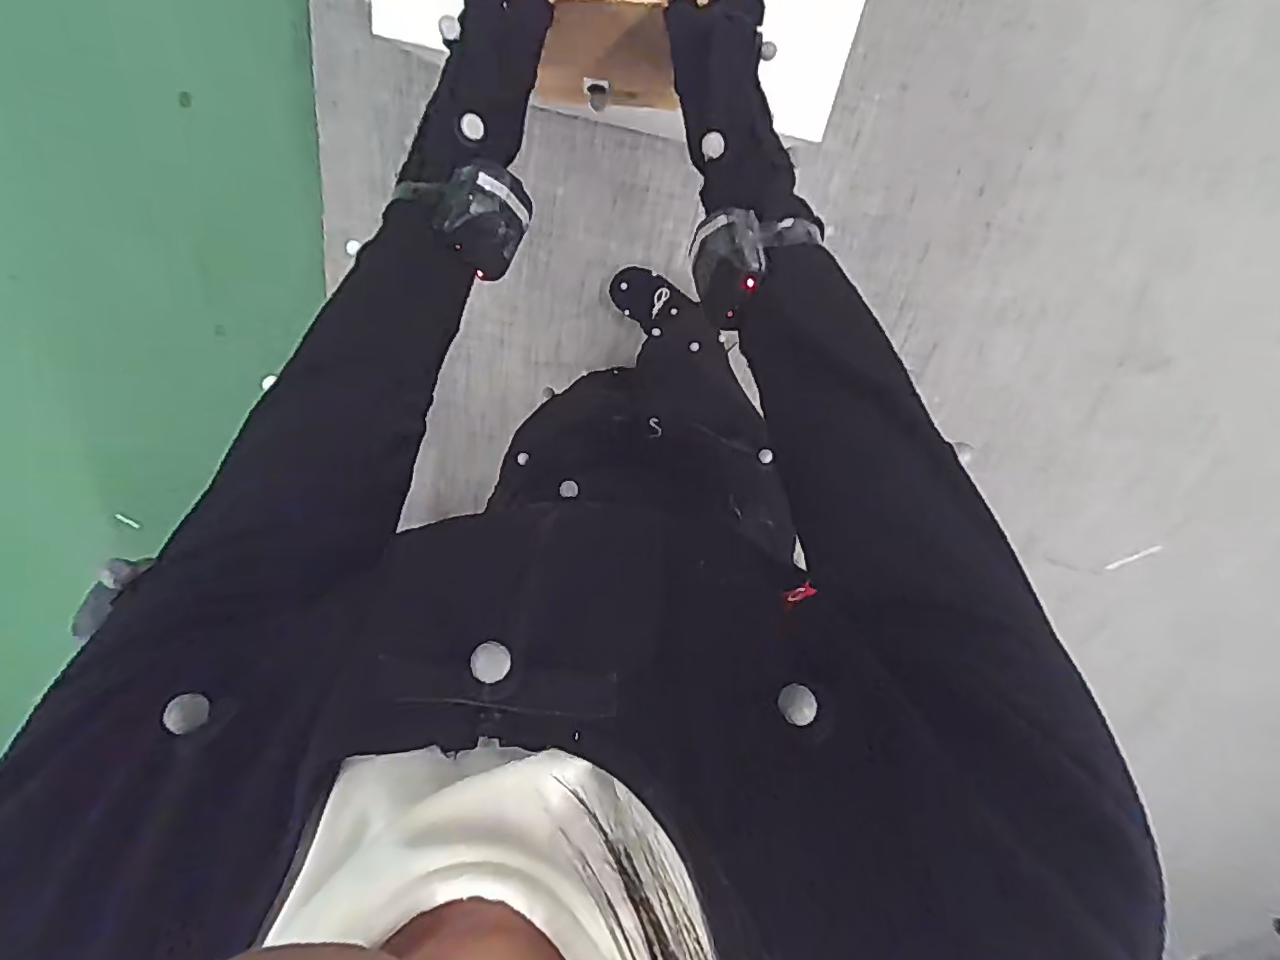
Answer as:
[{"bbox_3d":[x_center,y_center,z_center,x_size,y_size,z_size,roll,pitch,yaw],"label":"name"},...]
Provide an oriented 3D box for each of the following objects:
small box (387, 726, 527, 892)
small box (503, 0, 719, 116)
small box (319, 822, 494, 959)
[{"bbox_3d":[-0.298,0.541,0.901,0.179,0.176,0.168,14,119,-2],"label":"small box"},{"bbox_3d":[-0.027,-0.444,0.453,0.168,0.176,0.179,-1,101,-3],"label":"small box"},{"bbox_3d":[-0.317,0.624,0.760,0.168,0.176,0.179,15,121,-1],"label":"small box"}]
